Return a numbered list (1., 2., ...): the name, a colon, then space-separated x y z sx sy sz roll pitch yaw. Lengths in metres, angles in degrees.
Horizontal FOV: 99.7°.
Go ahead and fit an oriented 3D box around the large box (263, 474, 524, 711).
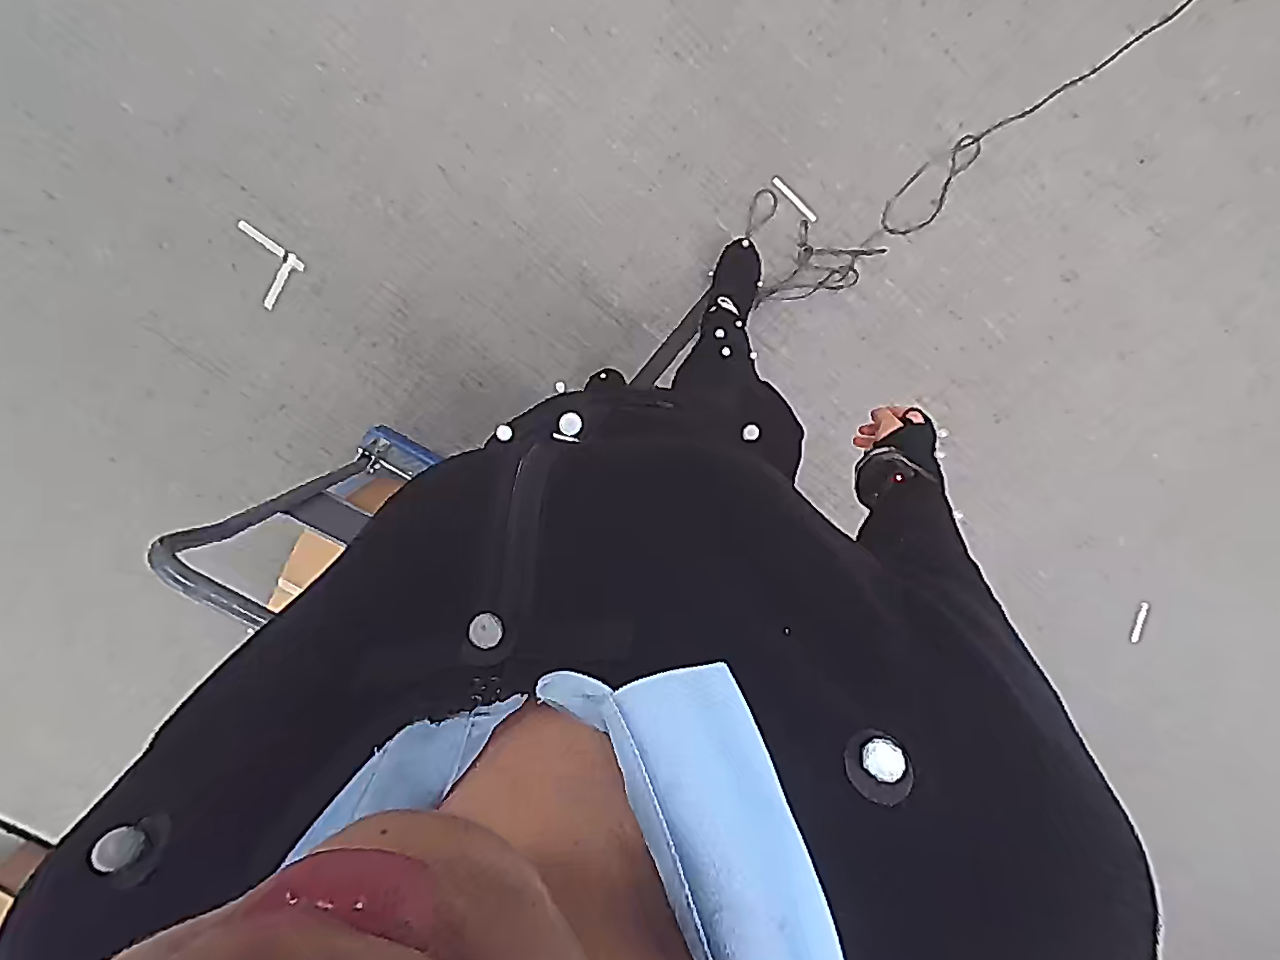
1. large box: -0.546 0.248 1.271 0.408 0.320 0.320 32 105 -8
